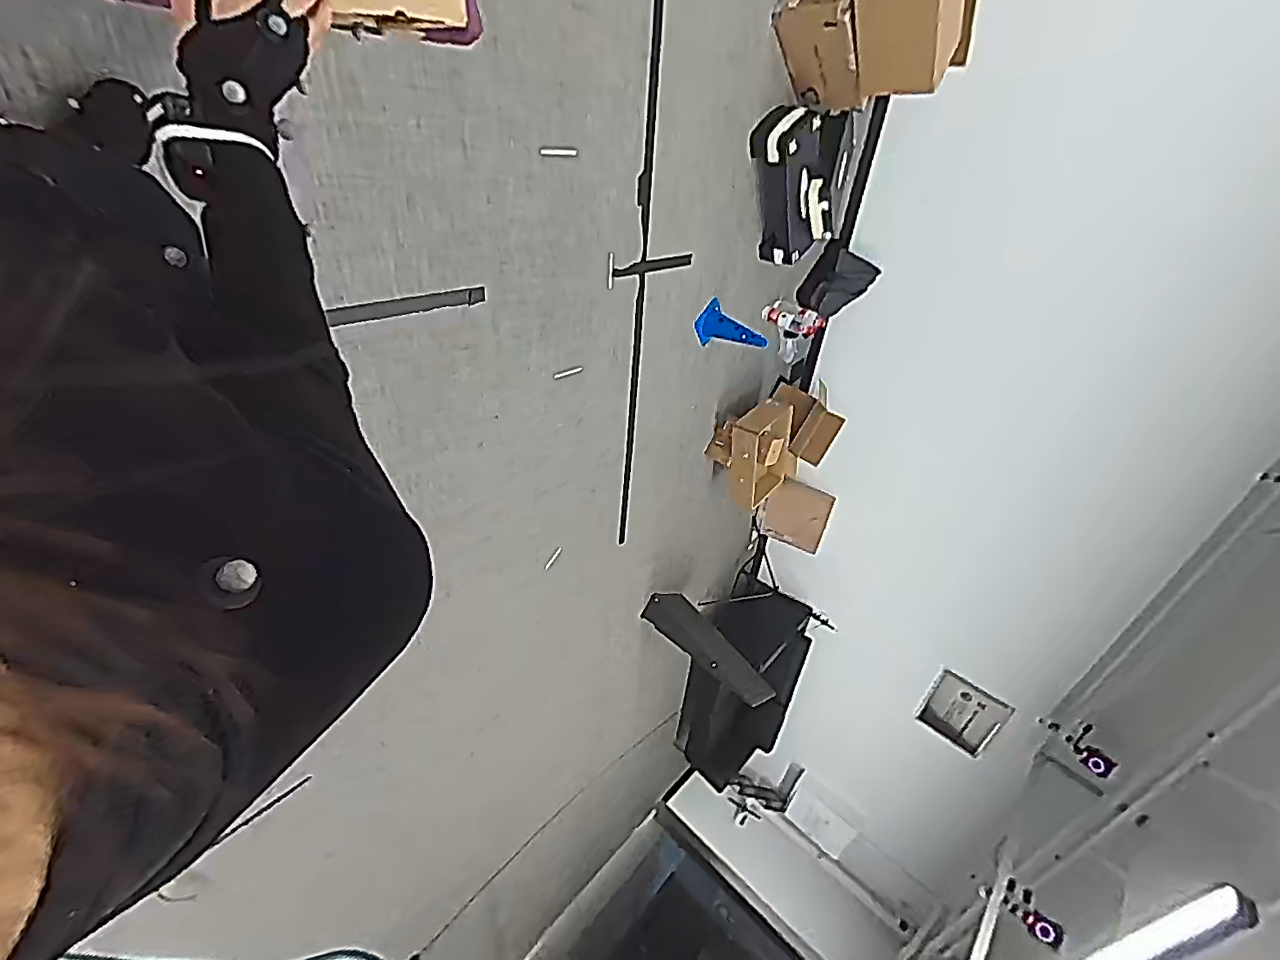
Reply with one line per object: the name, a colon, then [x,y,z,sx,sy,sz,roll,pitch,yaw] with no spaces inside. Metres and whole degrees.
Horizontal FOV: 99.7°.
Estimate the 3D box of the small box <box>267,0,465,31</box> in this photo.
small box: [-0.317,-0.605,0.583,0.168,0.176,0.179,-31,138,-36]
